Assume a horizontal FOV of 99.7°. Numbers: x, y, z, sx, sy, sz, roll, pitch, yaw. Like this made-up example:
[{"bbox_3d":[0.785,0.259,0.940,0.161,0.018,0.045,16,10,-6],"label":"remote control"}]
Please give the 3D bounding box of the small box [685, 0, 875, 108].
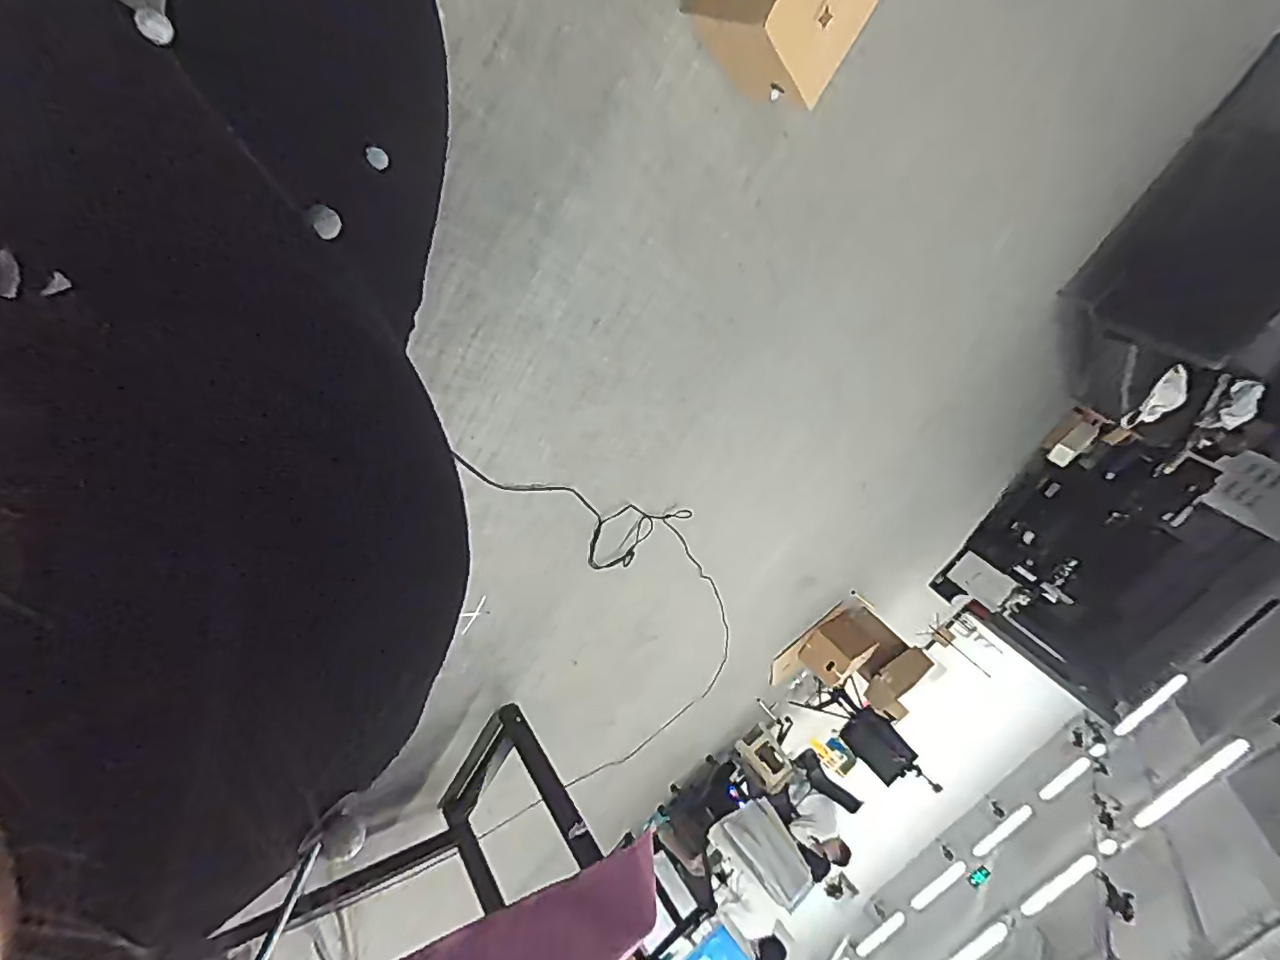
[{"bbox_3d":[0.202,-0.694,0.789,0.179,0.176,0.168,12,116,-51],"label":"small box"}]
